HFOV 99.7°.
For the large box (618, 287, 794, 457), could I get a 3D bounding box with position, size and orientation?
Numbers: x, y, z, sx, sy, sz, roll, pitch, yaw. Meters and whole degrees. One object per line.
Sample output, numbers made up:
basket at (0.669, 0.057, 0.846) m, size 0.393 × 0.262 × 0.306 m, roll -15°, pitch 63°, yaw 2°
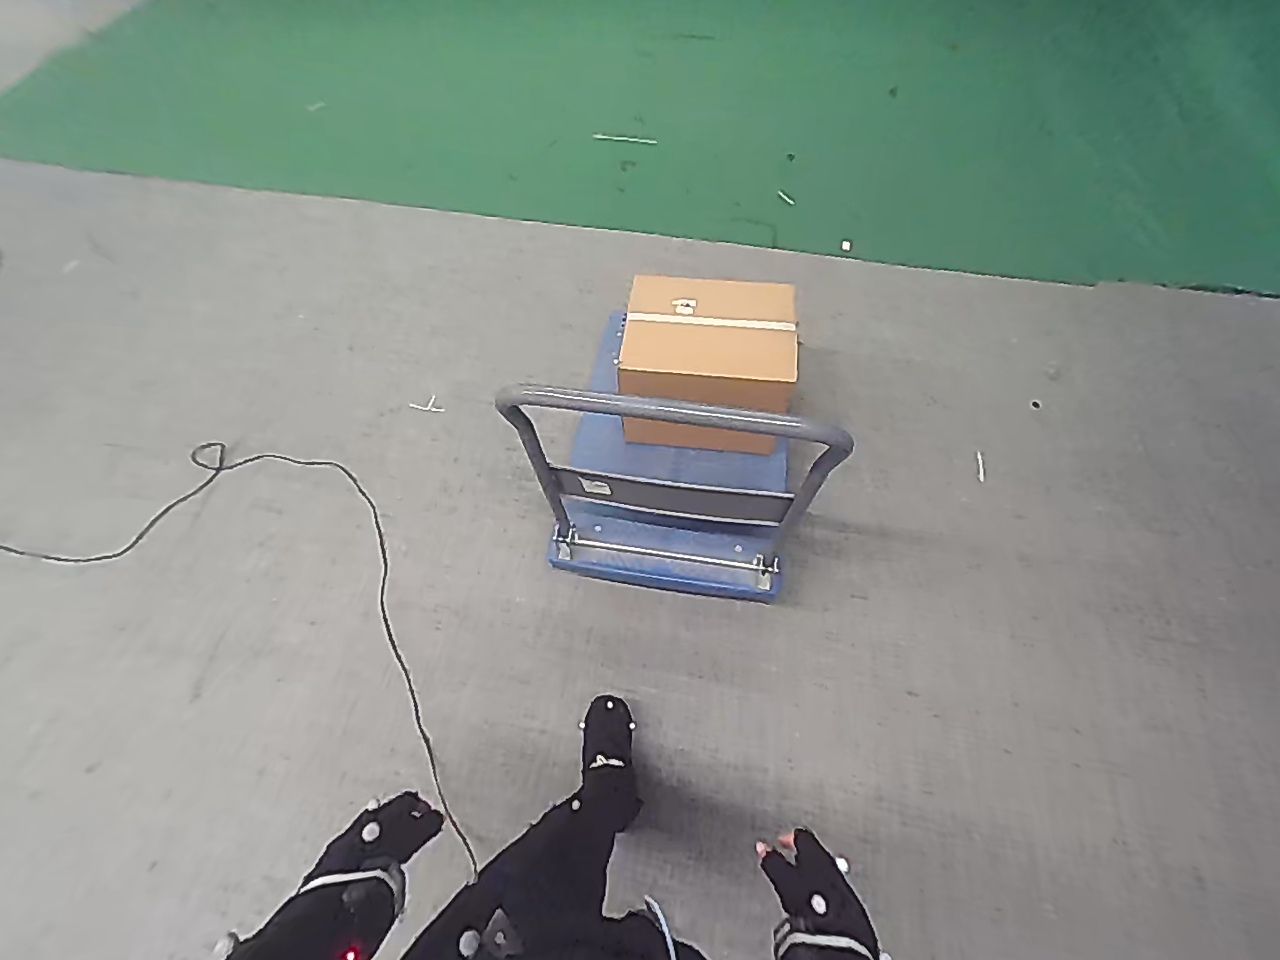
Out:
large box at (0.170, -0.276, 1.423) m, size 0.408 × 0.320 × 0.320 m, roll 5°, pitch 60°, yaw 5°
